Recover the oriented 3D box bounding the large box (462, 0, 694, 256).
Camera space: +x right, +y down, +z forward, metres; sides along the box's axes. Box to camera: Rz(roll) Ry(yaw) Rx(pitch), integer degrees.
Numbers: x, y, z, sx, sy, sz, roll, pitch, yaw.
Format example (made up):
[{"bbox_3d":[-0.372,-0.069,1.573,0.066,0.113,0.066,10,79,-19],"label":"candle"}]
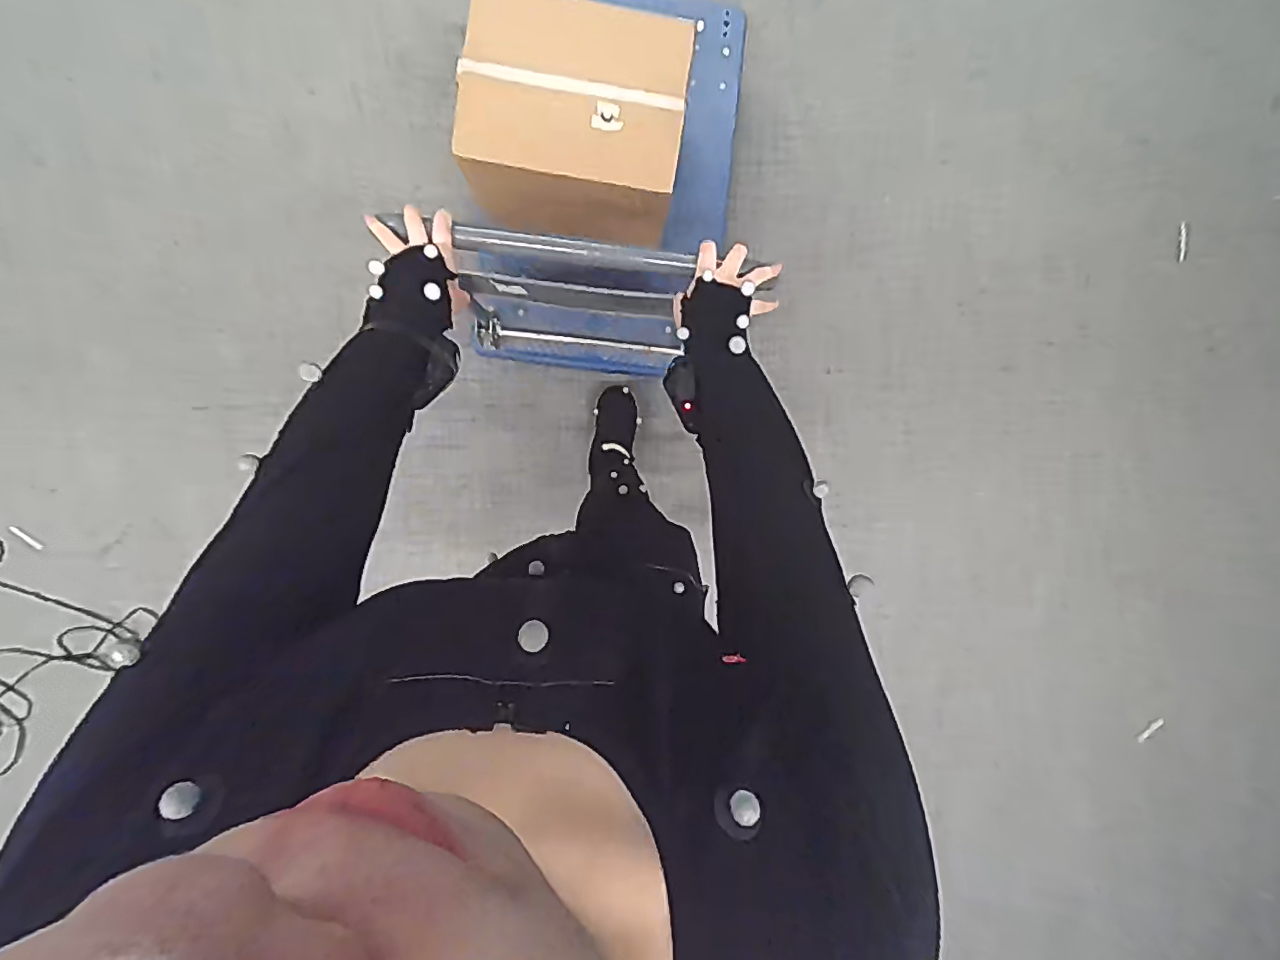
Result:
[{"bbox_3d":[-0.125,-0.711,1.144,0.408,0.320,0.320,8,91,-4],"label":"large box"}]
